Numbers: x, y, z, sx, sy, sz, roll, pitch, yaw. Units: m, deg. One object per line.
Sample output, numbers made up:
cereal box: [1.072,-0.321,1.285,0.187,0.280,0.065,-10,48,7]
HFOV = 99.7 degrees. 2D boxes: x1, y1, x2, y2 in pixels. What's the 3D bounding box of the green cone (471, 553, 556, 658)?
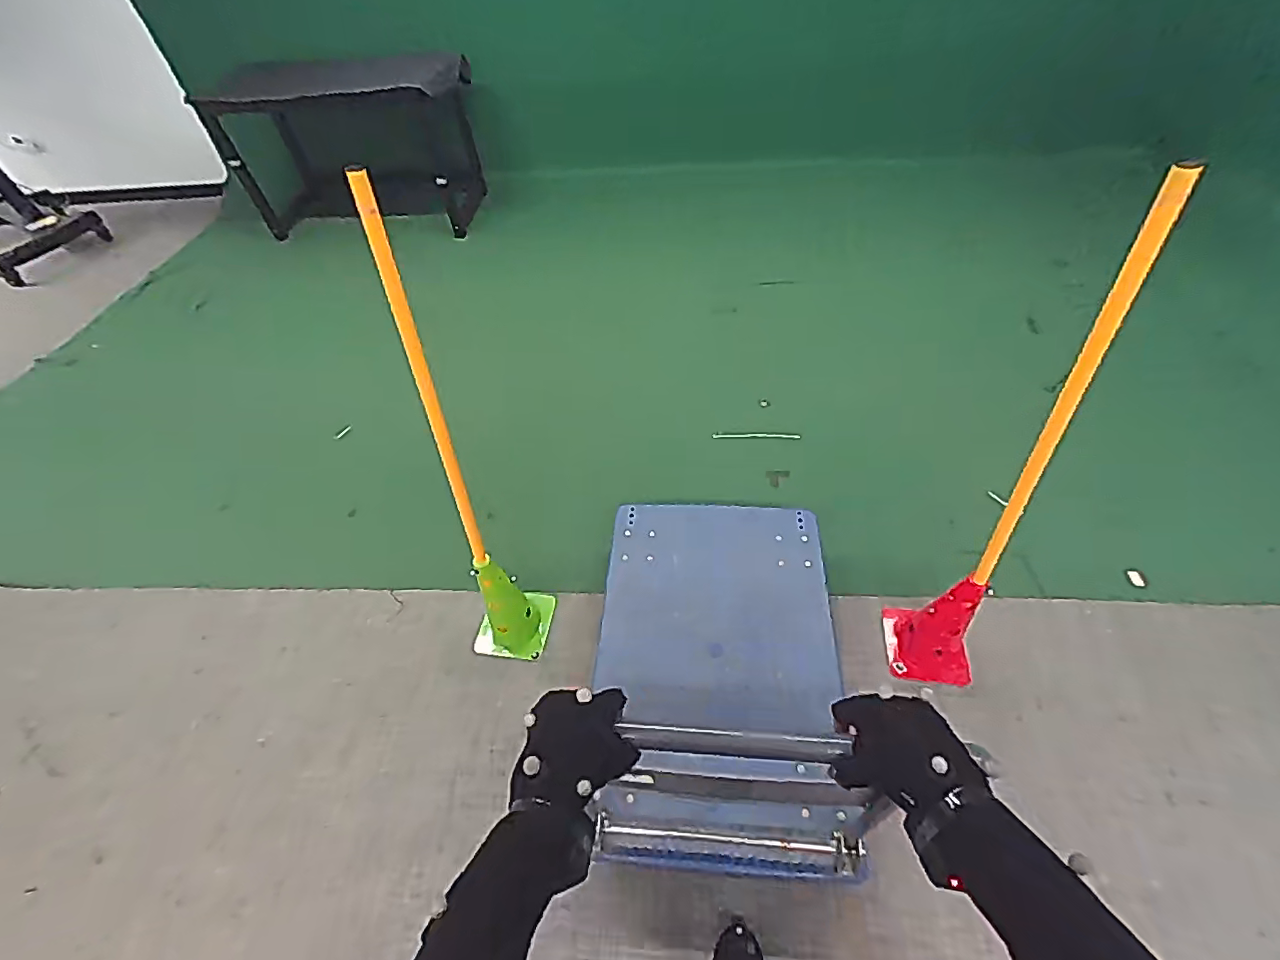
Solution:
green cone: [-0.373,0.308,1.453,0.202,0.368,0.200,3,50,9]
